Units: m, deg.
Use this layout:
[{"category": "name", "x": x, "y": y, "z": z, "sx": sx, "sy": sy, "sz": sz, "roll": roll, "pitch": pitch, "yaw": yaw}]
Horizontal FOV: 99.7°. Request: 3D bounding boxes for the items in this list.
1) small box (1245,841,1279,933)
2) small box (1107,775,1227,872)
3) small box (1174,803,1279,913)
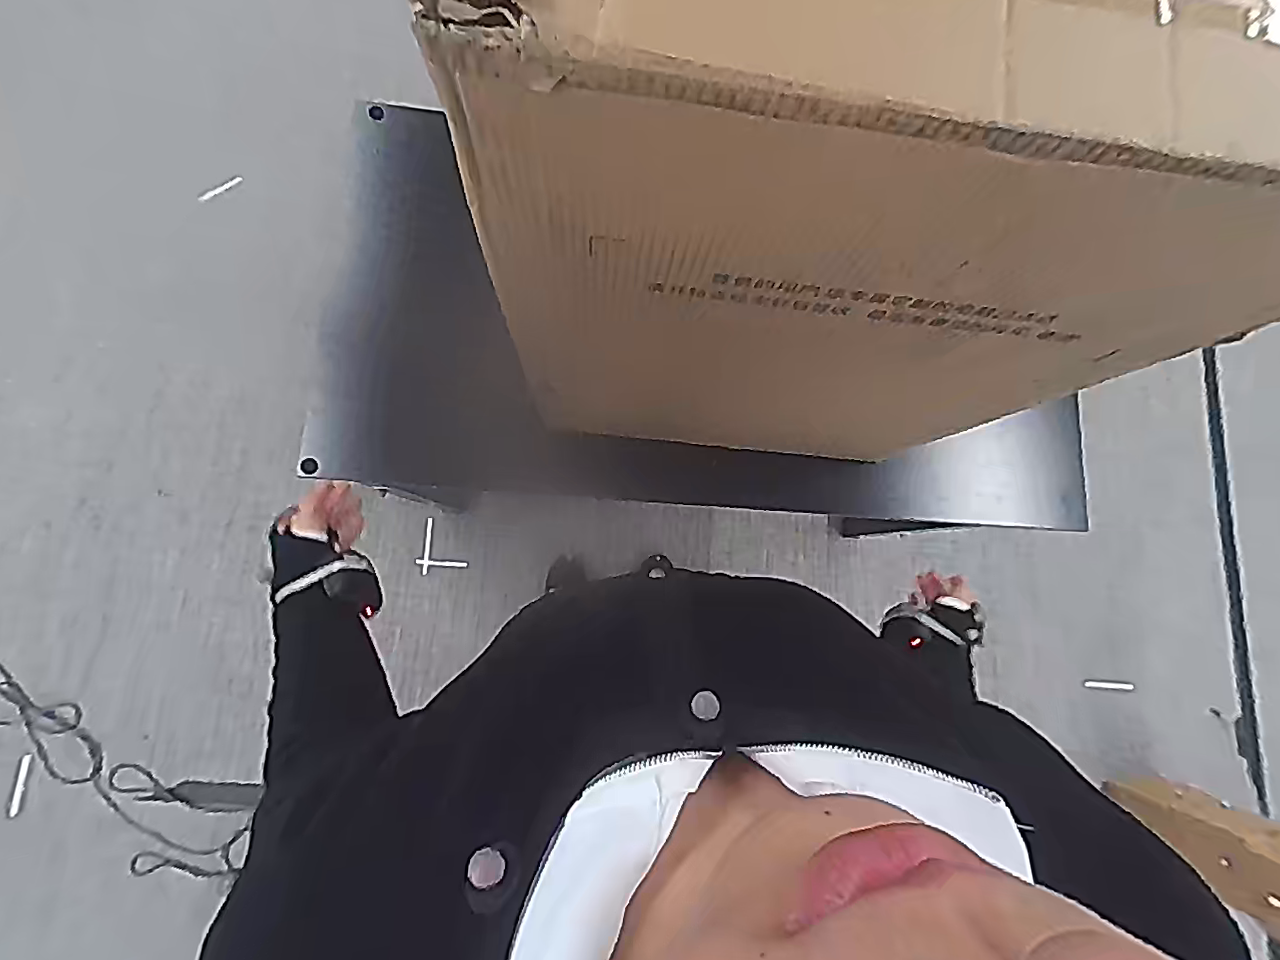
[{"category": "small box", "x": 1.452, "y": 0.882, "z": 1.131, "sx": 0.179, "sy": 0.176, "sz": 0.168, "roll": -4, "pitch": 81, "yaw": -5}, {"category": "small box", "x": 1.426, "y": 0.916, "z": 1.458, "sx": 0.179, "sy": 0.176, "sz": 0.168, "roll": -3, "pitch": 81, "yaw": -4}, {"category": "small box", "x": 1.442, "y": 0.898, "z": 1.295, "sx": 0.168, "sy": 0.176, "sz": 0.179, "roll": 0, "pitch": 82, "yaw": -5}]
